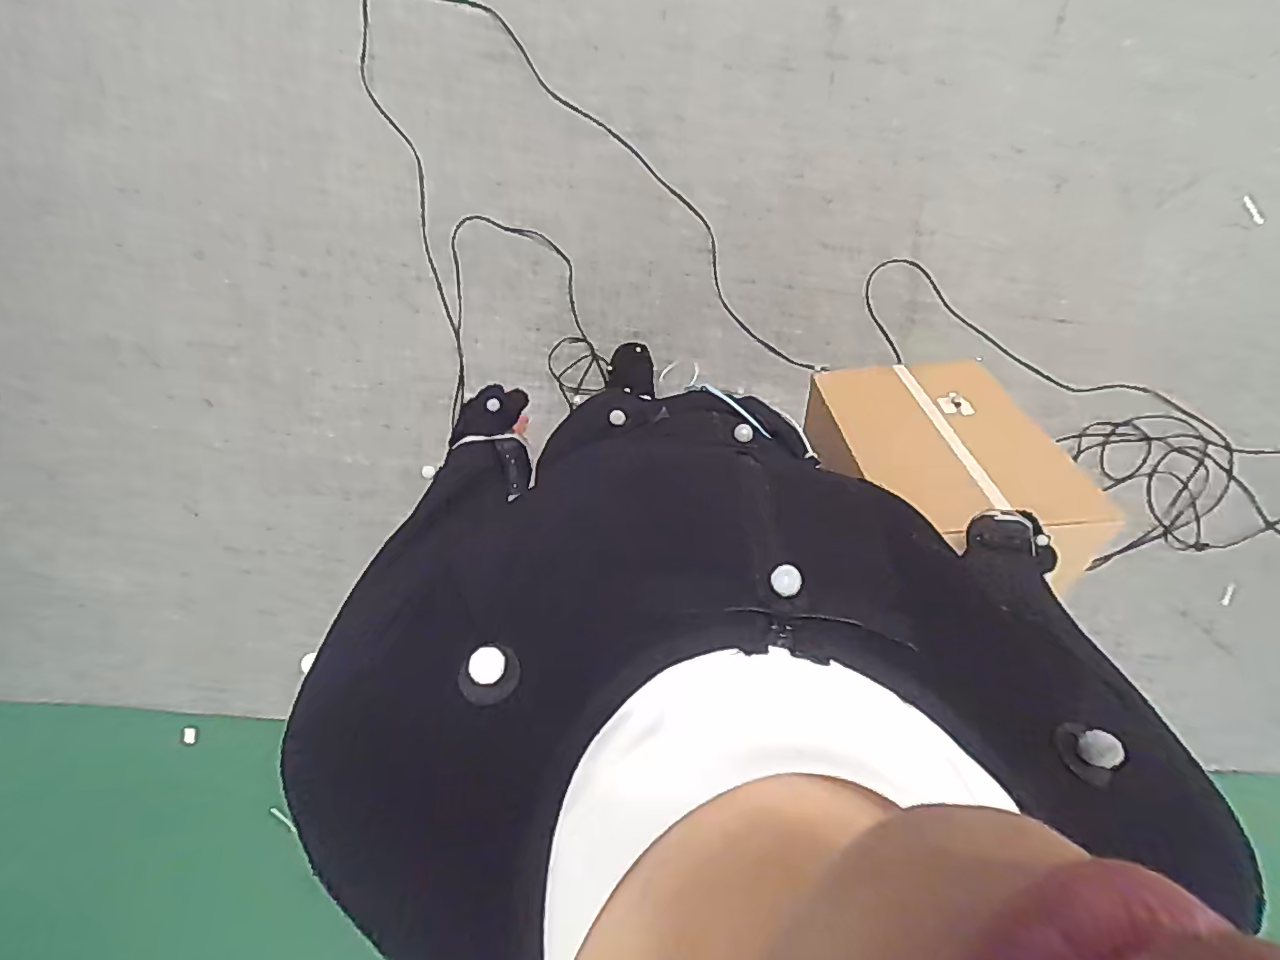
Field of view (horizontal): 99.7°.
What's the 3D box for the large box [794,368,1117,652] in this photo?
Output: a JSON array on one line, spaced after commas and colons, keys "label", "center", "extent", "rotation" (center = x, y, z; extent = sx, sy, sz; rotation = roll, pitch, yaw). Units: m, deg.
[{"label": "large box", "center": [0.497, 0.044, 0.976], "extent": [0.320, 0.408, 0.320], "rotation": [-4, 132, 0]}]
